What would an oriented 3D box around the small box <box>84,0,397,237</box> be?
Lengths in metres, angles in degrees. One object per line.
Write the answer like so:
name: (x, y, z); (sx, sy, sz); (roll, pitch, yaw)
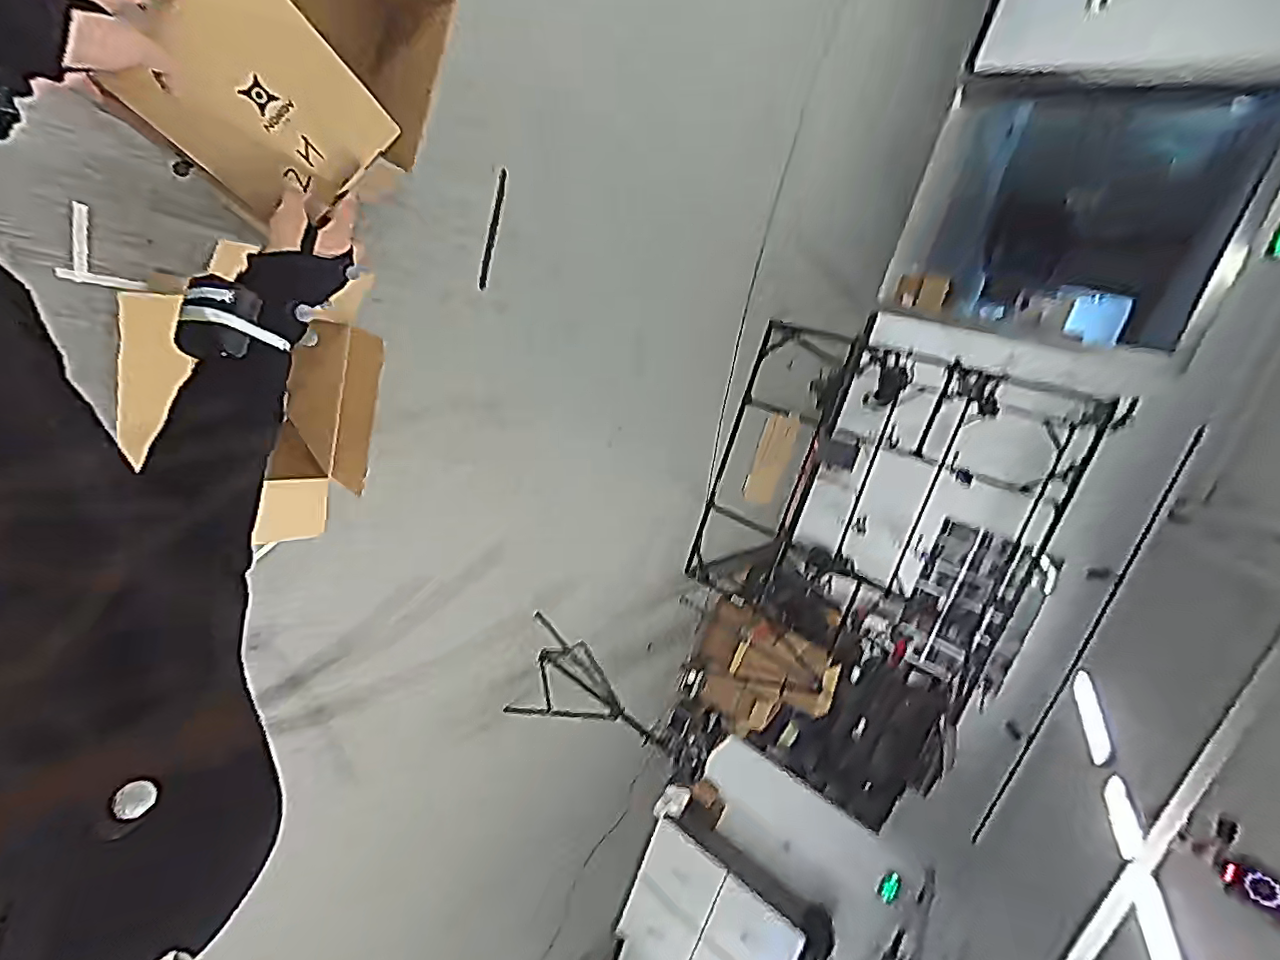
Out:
small box: (-0.392, -0.372, 0.541); (0.168, 0.176, 0.179); (-54, 138, -7)
